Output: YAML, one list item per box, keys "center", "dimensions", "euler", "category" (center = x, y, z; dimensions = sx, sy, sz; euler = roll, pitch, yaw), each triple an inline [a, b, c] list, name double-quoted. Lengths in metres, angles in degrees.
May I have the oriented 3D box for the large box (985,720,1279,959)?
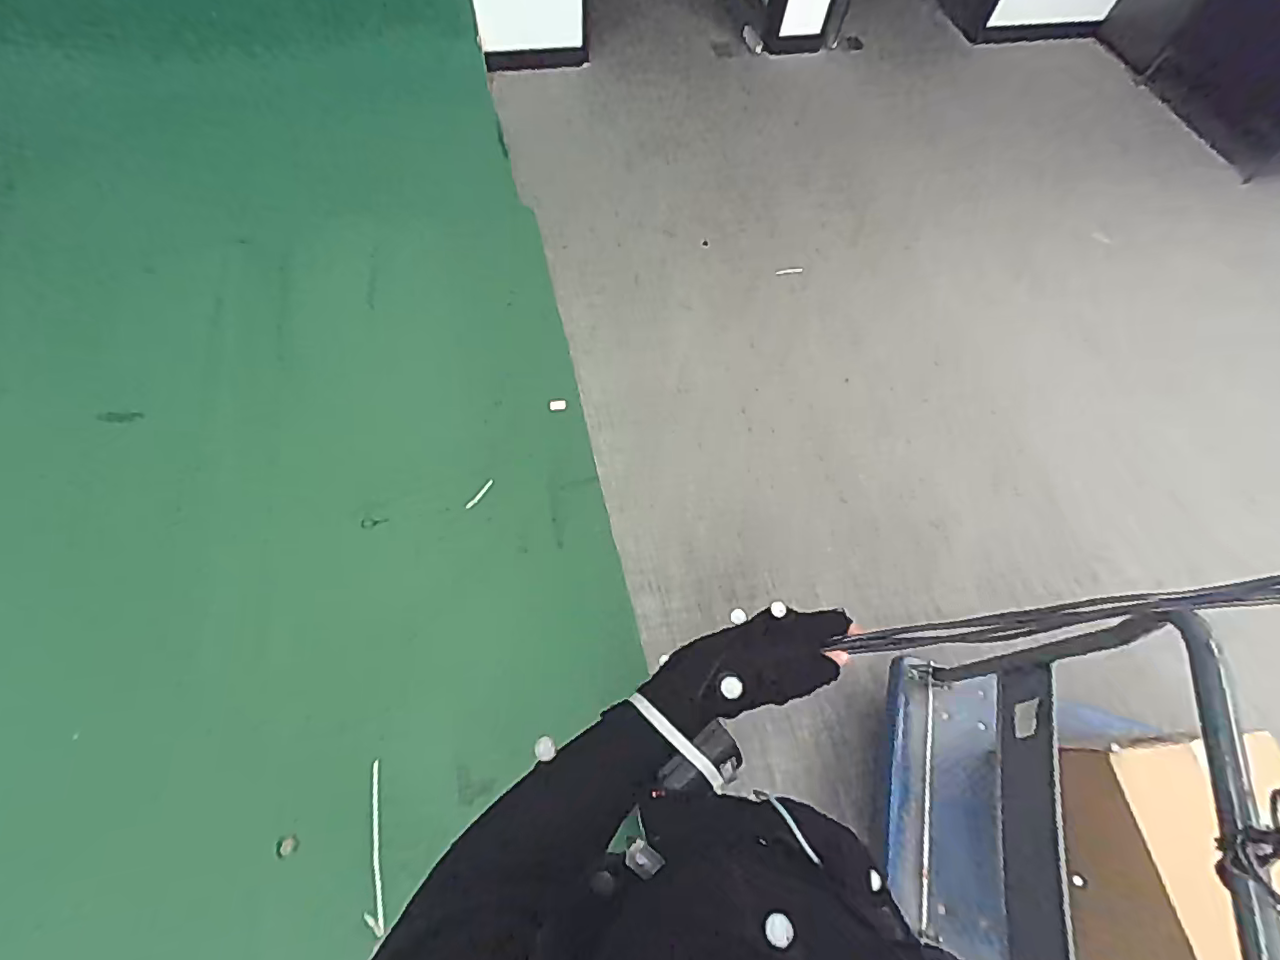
- center: [0.924, 0.674, 0.971]
  dimensions: [0.320, 0.320, 0.408]
  euler: [-4, 63, -7]
  category: "large box"
